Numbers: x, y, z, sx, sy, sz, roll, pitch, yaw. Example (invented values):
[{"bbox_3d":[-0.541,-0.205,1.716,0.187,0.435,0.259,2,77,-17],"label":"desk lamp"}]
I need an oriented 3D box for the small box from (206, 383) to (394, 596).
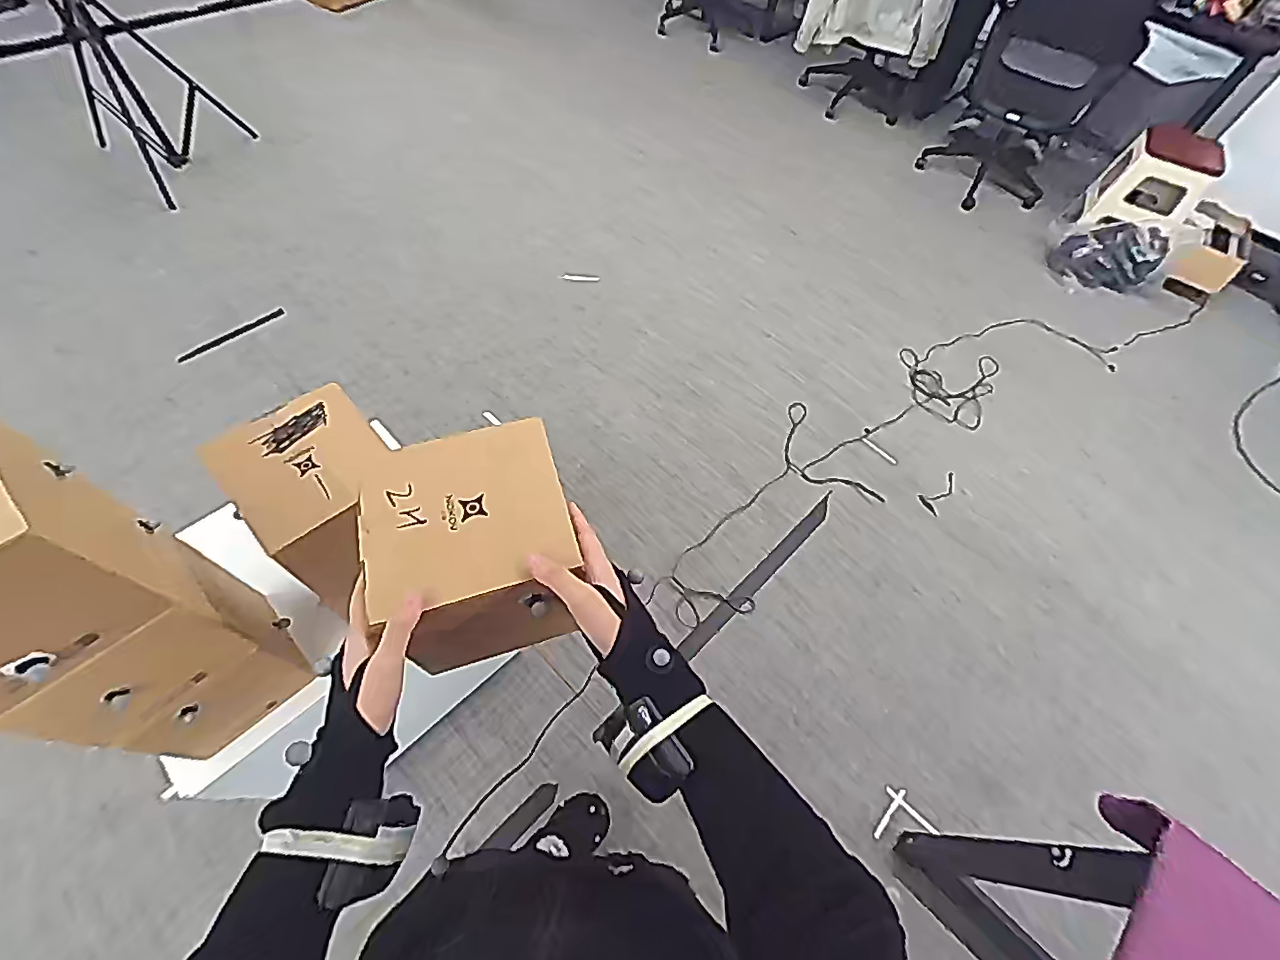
[{"bbox_3d":[-0.387,0.018,0.688,0.168,0.176,0.179,-37,70,-23],"label":"small box"}]

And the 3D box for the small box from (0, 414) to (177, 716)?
[{"bbox_3d":[-0.556,0.070,0.452,0.179,0.176,0.168,41,65,18],"label":"small box"}]

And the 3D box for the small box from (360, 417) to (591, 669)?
[{"bbox_3d":[-0.150,0.067,0.536,0.179,0.176,0.168,-15,60,-10],"label":"small box"}]

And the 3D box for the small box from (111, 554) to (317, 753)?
[{"bbox_3d":[-0.584,0.239,0.728,0.168,0.176,0.179,-39,68,-23],"label":"small box"}]

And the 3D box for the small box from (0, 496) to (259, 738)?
[{"bbox_3d":[-0.569,0.156,0.590,0.179,0.176,0.168,41,64,19],"label":"small box"}]
